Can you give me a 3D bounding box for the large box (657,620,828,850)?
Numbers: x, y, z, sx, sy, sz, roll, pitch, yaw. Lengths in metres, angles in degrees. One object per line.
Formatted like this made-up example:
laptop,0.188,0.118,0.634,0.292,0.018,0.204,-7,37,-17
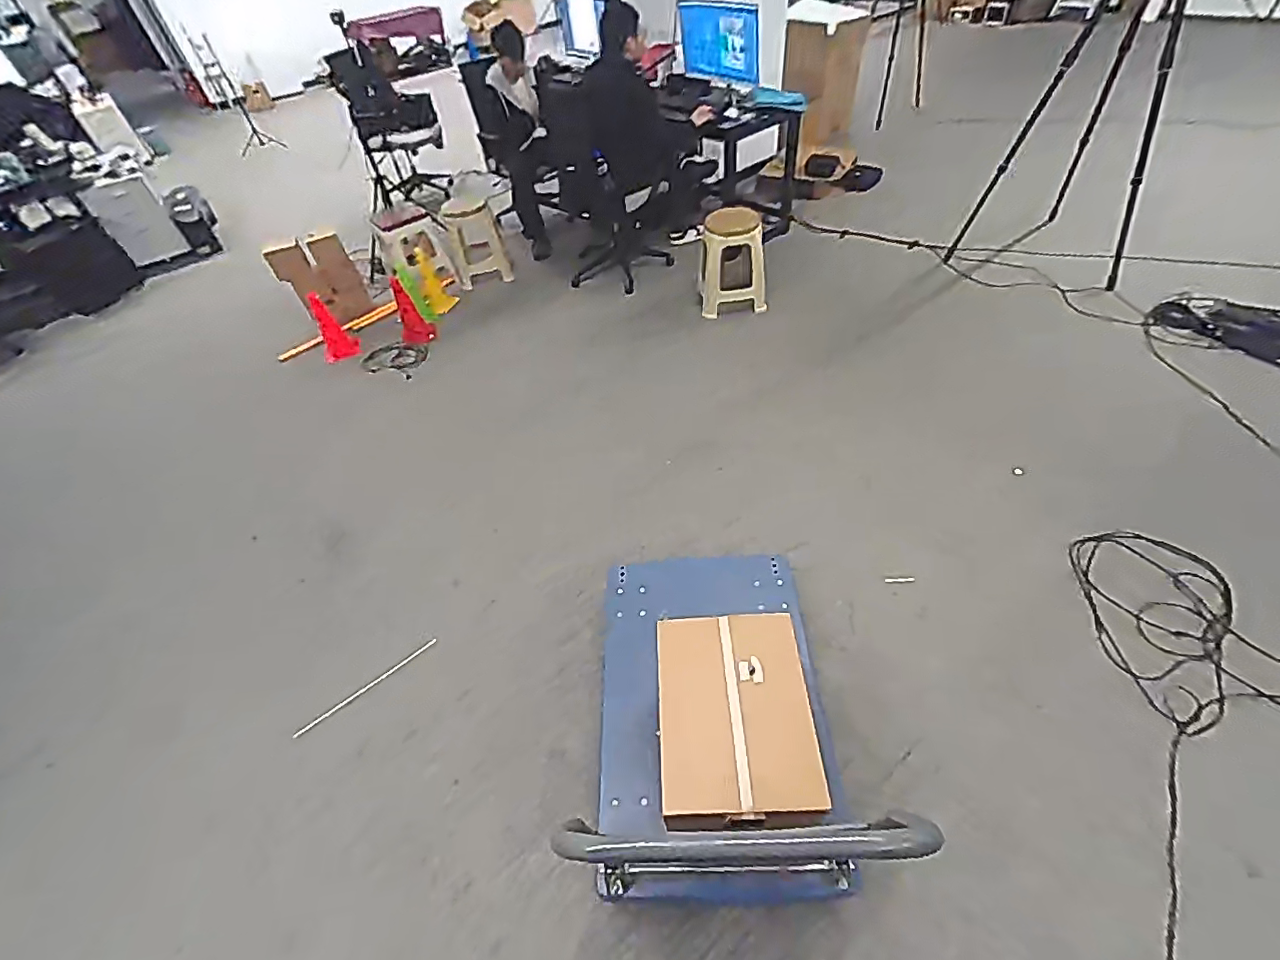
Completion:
large box,0.212,0.589,1.255,0.320,0.320,0.408,-4,46,3
